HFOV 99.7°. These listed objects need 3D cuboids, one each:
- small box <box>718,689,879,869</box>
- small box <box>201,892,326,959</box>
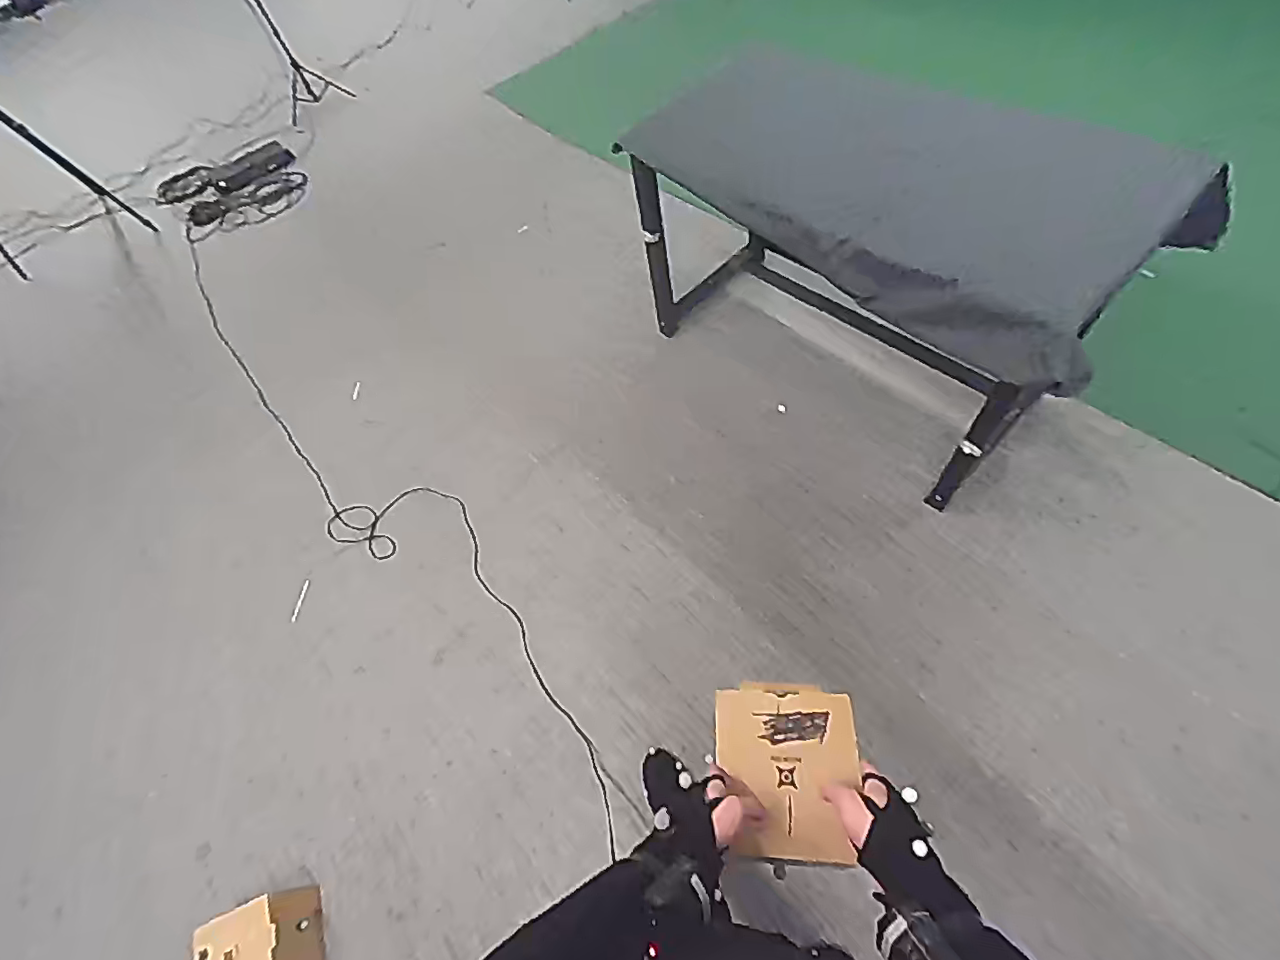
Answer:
[{"bbox_3d":[0.183,0.378,0.683,0.168,0.176,0.179,-3,54,8],"label":"small box"},{"bbox_3d":[-0.832,1.061,1.210,0.179,0.176,0.168,-25,59,-5],"label":"small box"}]
